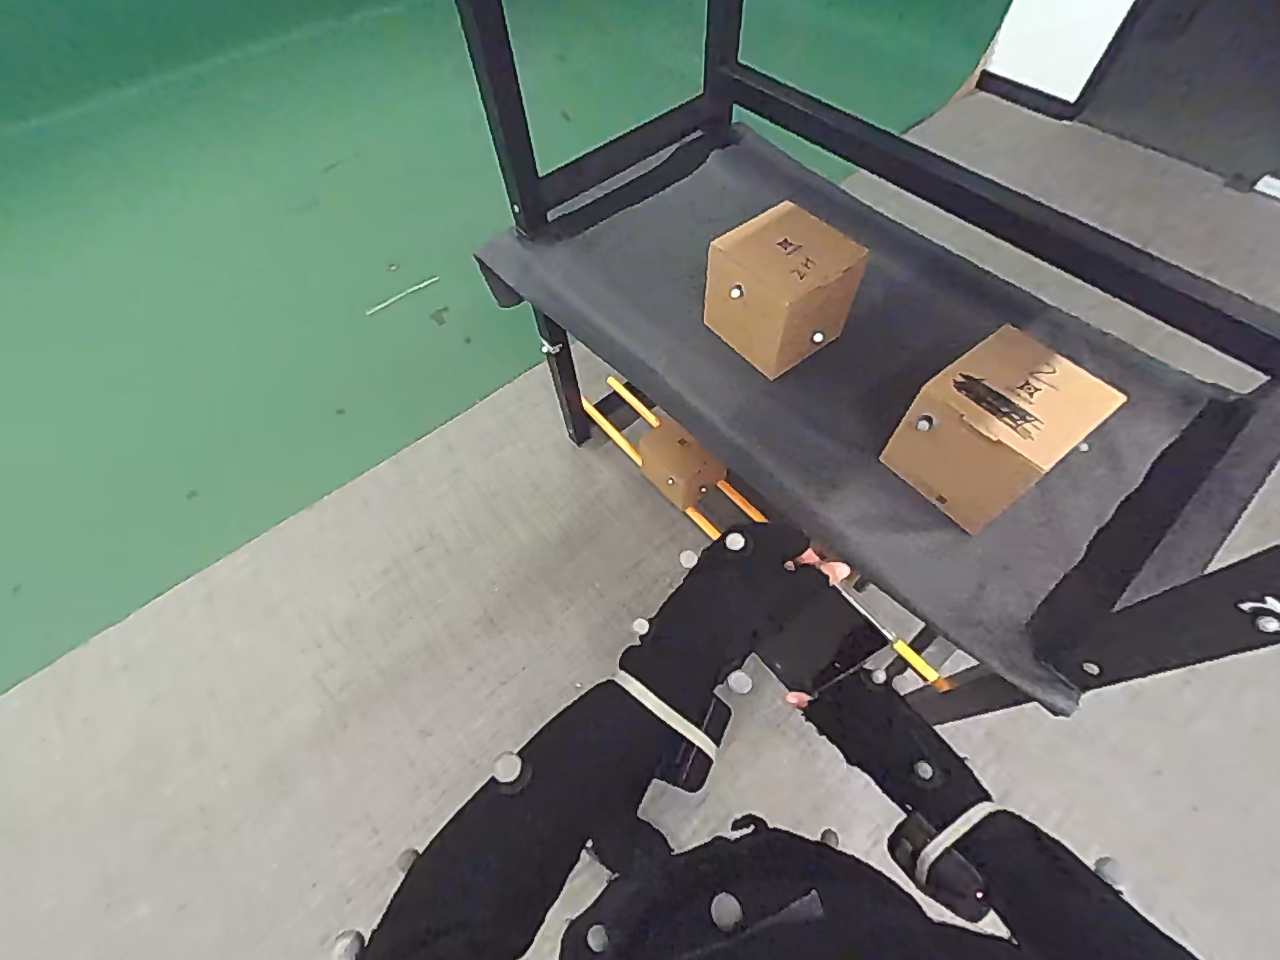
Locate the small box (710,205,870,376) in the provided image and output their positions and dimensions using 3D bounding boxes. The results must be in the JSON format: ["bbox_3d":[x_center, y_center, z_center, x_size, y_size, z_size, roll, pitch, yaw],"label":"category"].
[{"bbox_3d":[0.229,-0.305,0.883,0.168,0.176,0.179,-34,64,-16],"label":"small box"}]

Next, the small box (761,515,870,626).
[{"bbox_3d":[0.407,0.221,1.289,0.179,0.176,0.168,-34,64,-15],"label":"small box"}]
